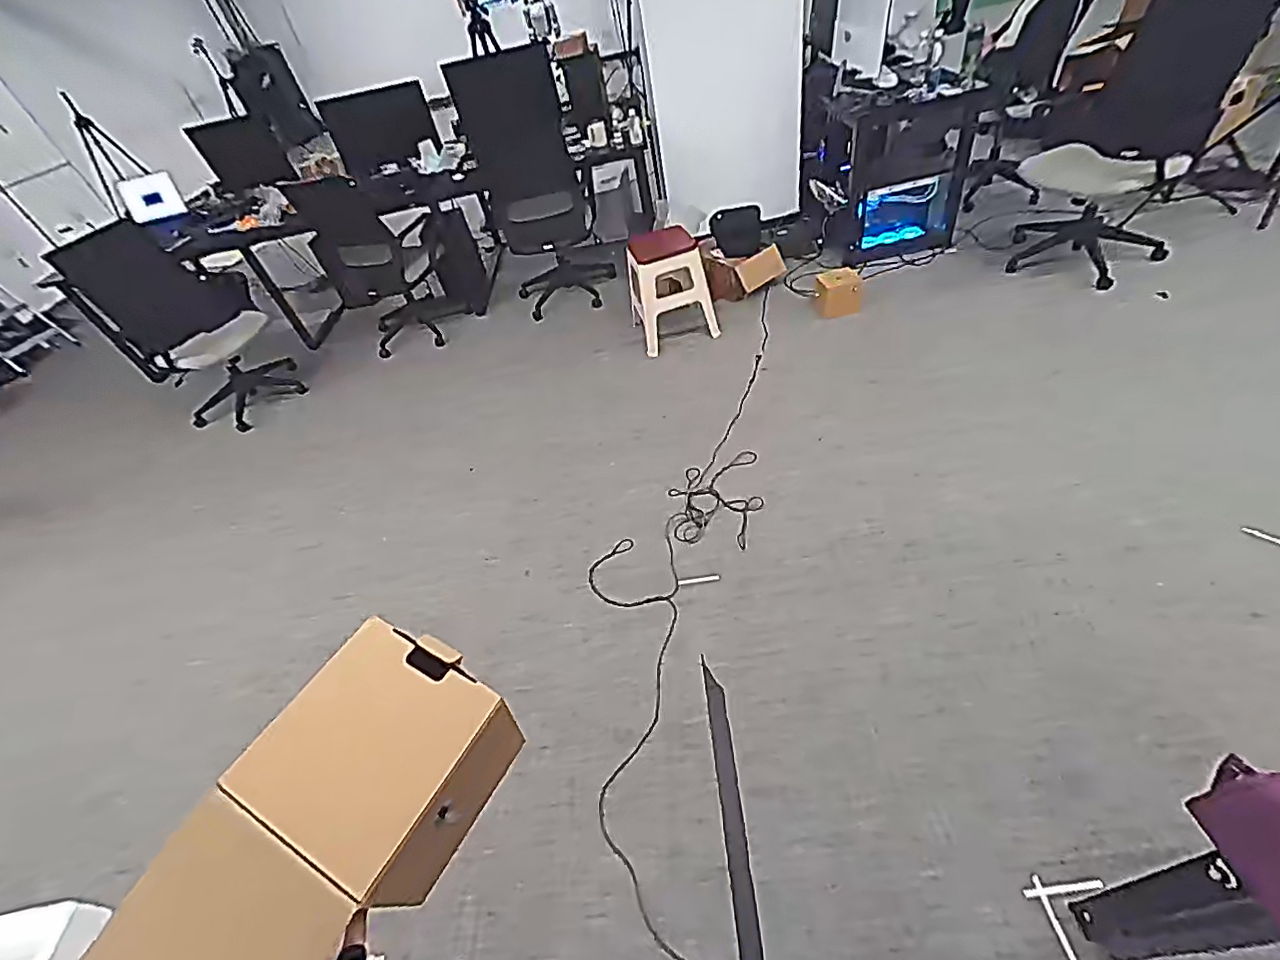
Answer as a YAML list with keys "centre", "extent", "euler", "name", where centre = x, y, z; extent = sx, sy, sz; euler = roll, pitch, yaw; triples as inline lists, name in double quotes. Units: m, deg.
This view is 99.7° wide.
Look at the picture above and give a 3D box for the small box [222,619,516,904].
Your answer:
- centre: [-0.242, 0.279, 0.537]
  extent: [0.168, 0.176, 0.179]
  euler: [25, 54, 16]
  name: "small box"
